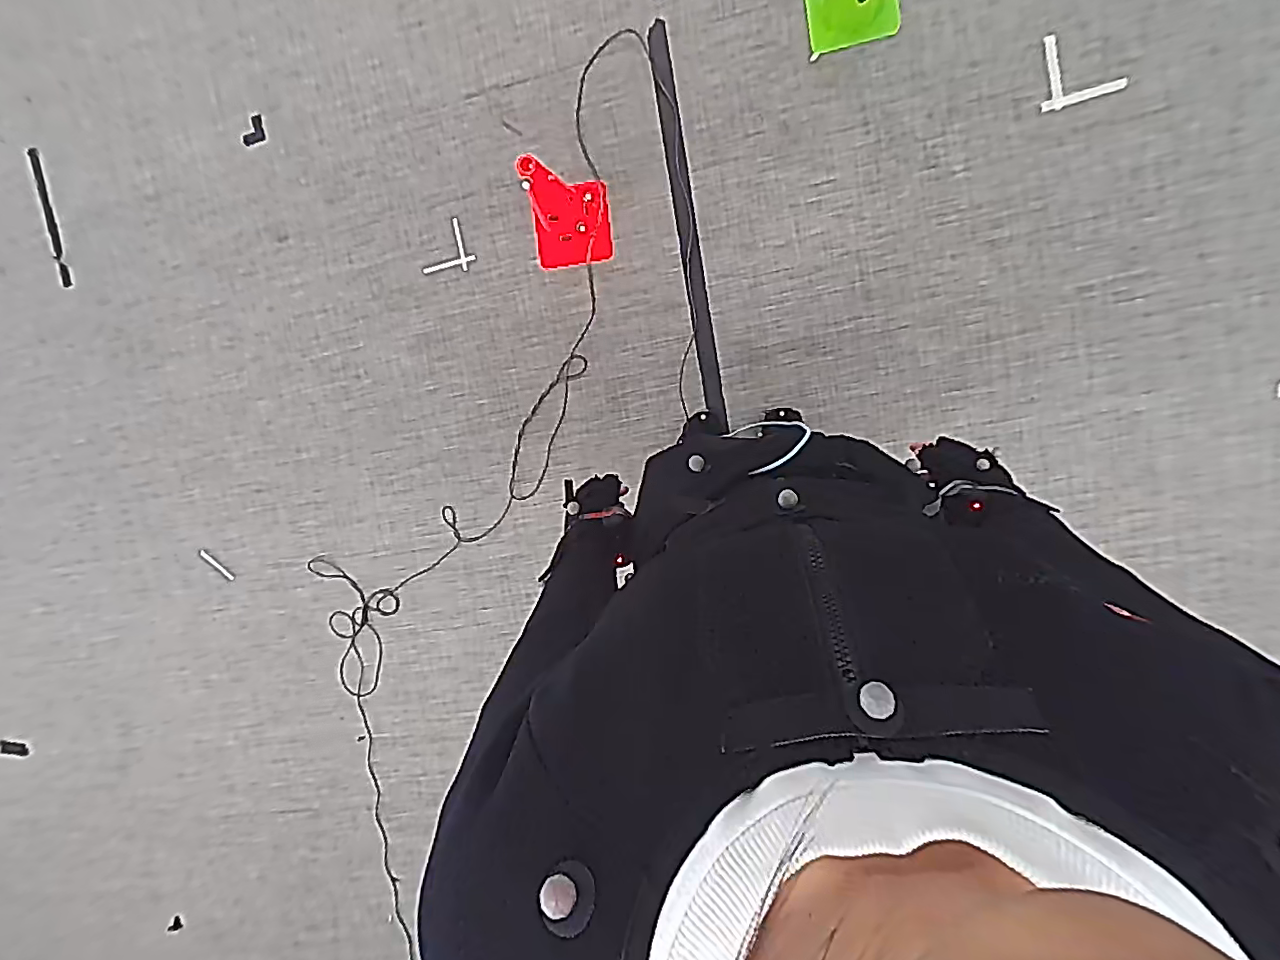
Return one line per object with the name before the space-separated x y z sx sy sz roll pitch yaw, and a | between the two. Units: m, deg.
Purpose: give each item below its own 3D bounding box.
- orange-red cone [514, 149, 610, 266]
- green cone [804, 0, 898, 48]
orange-red cone | -0.205 -0.641 1.222 0.199 0.360 0.198 -5 95 10
green cone | 0.458 -1.088 1.067 0.202 0.368 0.200 -9 96 8
